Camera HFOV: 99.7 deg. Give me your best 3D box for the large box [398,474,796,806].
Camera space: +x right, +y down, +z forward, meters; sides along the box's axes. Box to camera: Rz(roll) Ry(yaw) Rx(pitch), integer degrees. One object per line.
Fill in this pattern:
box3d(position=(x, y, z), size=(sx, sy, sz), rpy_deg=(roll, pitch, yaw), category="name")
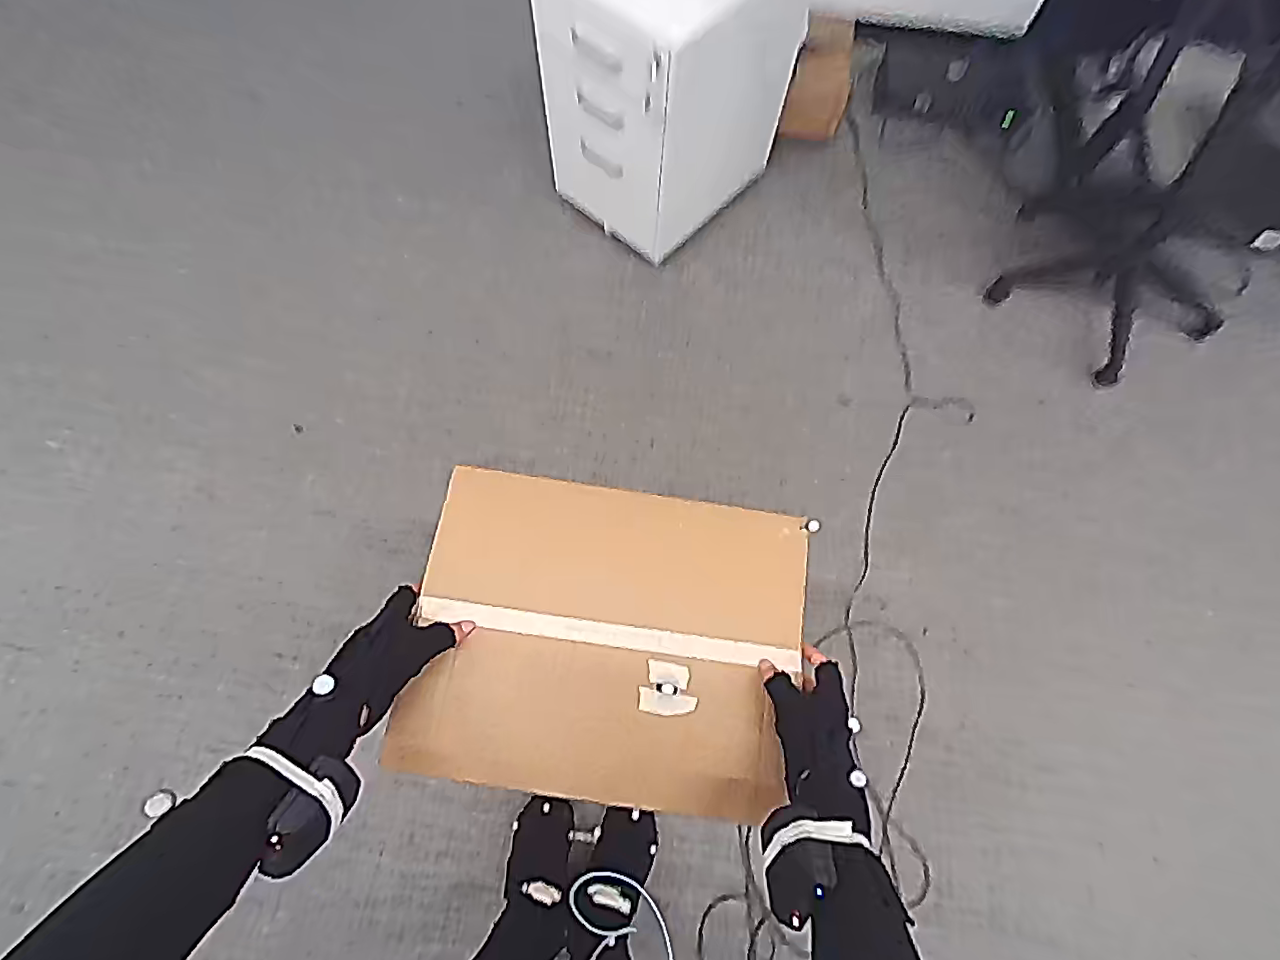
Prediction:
box3d(position=(-0.041, 0.207, 0.733), size=(0.408, 0.320, 0.320), rpy_deg=(9, 73, -1), category="large box")
